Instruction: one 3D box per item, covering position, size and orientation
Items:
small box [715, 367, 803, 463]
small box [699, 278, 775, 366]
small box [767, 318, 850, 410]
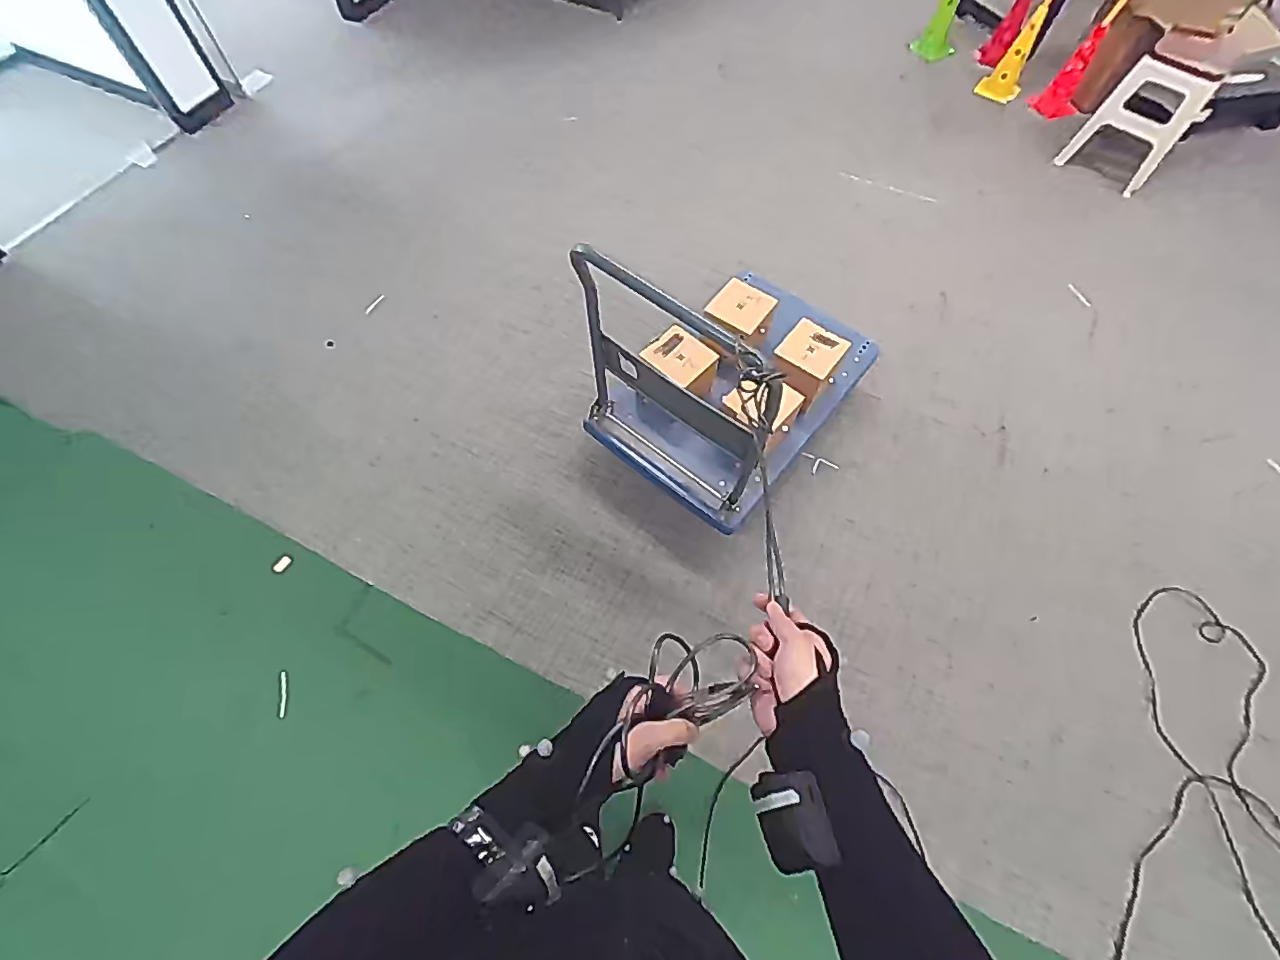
[{"bbox_3d":[0.334,-0.183,1.558,0.168,0.176,0.179,39,69,17],"label":"small box"},{"bbox_3d":[0.302,-0.495,1.714,0.168,0.176,0.179,34,67,15],"label":"small box"},{"bbox_3d":[0.498,-0.349,1.641,0.168,0.176,0.179,35,69,17],"label":"small box"}]
